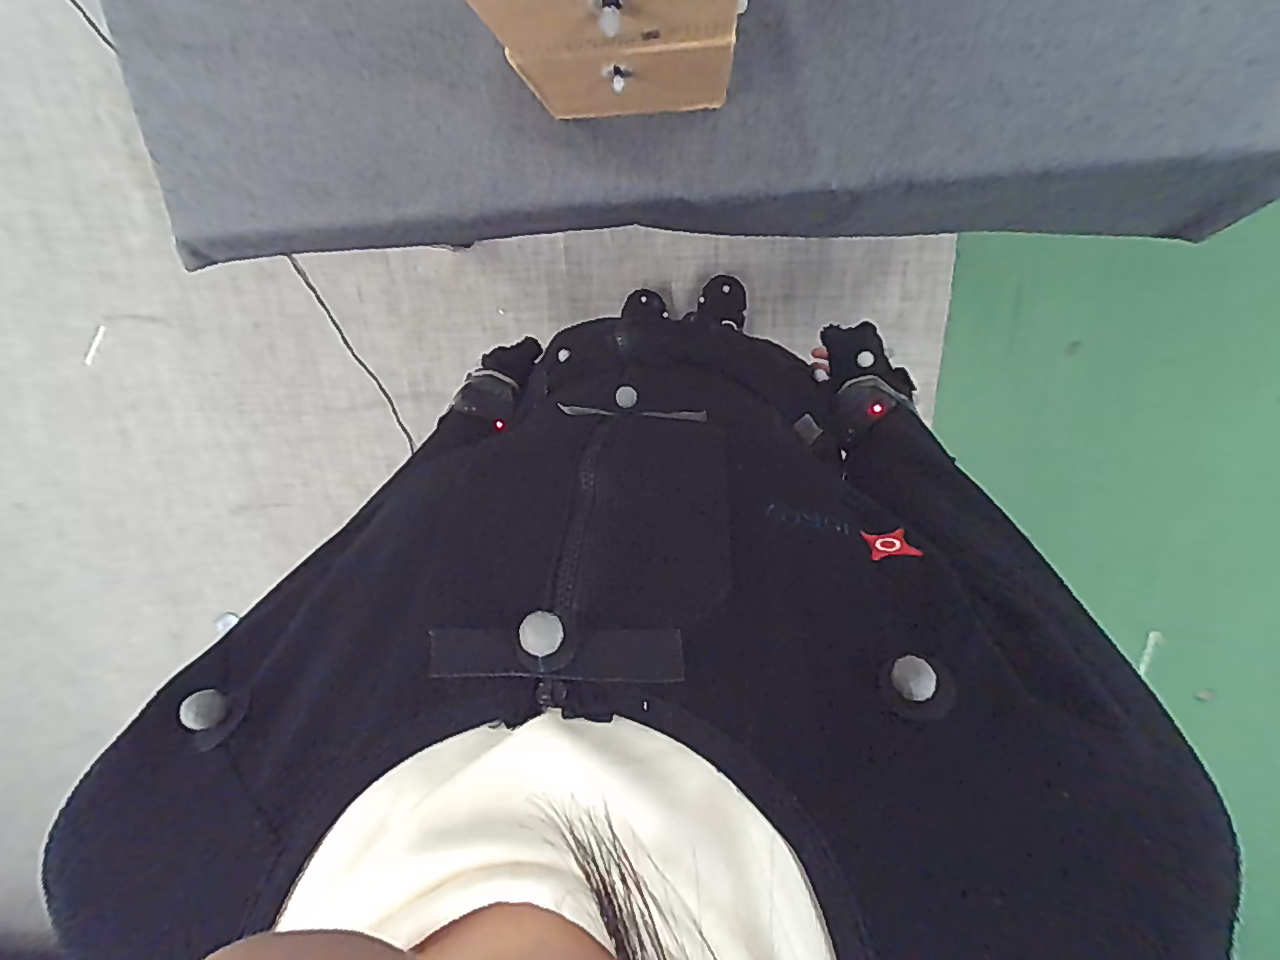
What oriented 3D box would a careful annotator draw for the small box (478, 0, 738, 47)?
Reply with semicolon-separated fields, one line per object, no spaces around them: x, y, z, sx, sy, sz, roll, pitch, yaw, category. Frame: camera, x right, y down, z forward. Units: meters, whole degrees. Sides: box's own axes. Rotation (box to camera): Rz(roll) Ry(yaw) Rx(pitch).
-0.025;-0.372;0.298;0.168;0.176;0.179;-2;111;7;small box

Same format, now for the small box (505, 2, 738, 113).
-0.010;-0.426;0.451;0.179;0.176;0.168;-1;111;5;small box
